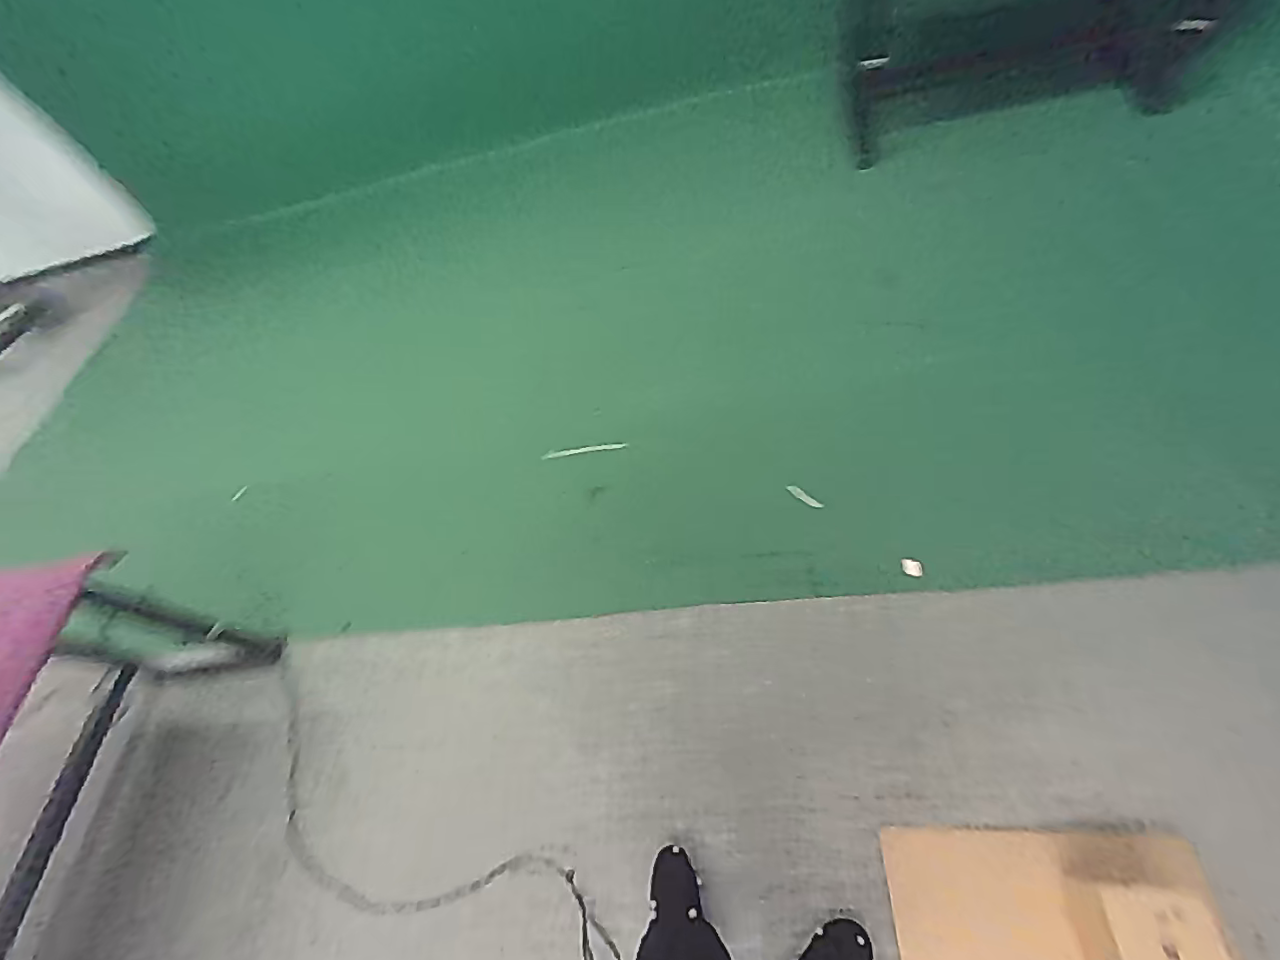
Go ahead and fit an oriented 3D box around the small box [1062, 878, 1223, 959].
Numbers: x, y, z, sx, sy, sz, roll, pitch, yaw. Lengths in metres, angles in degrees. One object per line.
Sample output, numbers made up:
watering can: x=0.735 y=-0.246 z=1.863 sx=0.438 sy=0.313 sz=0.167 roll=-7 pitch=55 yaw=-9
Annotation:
small box: x=0.937 y=0.867 z=1.008 sx=0.168 sy=0.176 sz=0.179 roll=-4 pitch=58 yaw=13
